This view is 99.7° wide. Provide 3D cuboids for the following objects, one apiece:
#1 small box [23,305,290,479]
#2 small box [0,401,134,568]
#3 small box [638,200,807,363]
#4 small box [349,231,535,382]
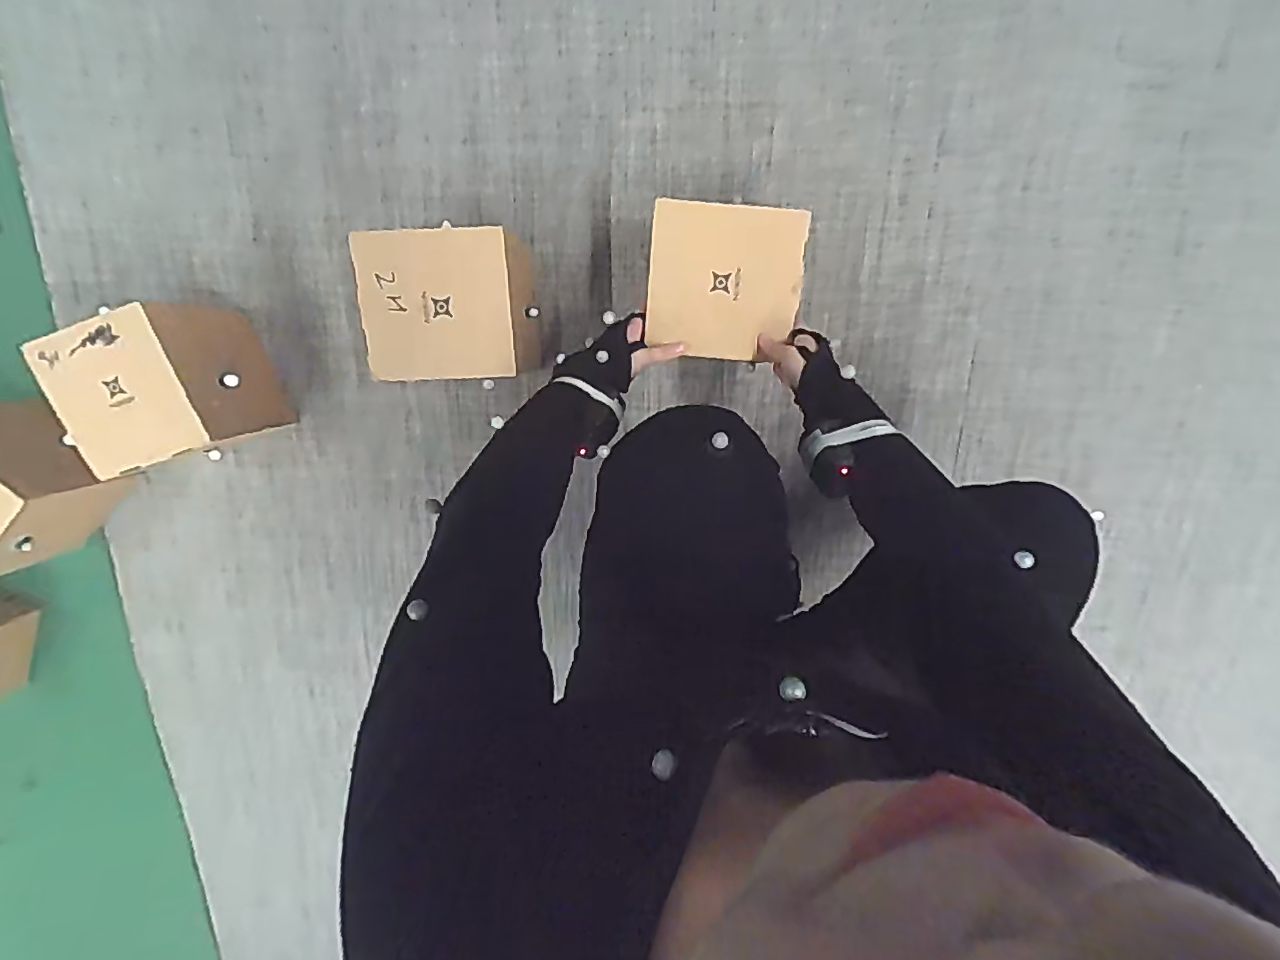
[{"bbox_3d":[-0.621,-0.122,0.725,0.168,0.176,0.179,-17,104,5],"label":"small box"},{"bbox_3d":[-0.888,0.009,0.761,0.179,0.176,0.168,-43,100,10],"label":"small box"},{"bbox_3d":[0.091,-0.241,0.689,0.179,0.176,0.168,4,105,-2],"label":"small box"},{"bbox_3d":[-0.235,-0.217,0.695,0.179,0.176,0.168,-2,104,0],"label":"small box"}]
